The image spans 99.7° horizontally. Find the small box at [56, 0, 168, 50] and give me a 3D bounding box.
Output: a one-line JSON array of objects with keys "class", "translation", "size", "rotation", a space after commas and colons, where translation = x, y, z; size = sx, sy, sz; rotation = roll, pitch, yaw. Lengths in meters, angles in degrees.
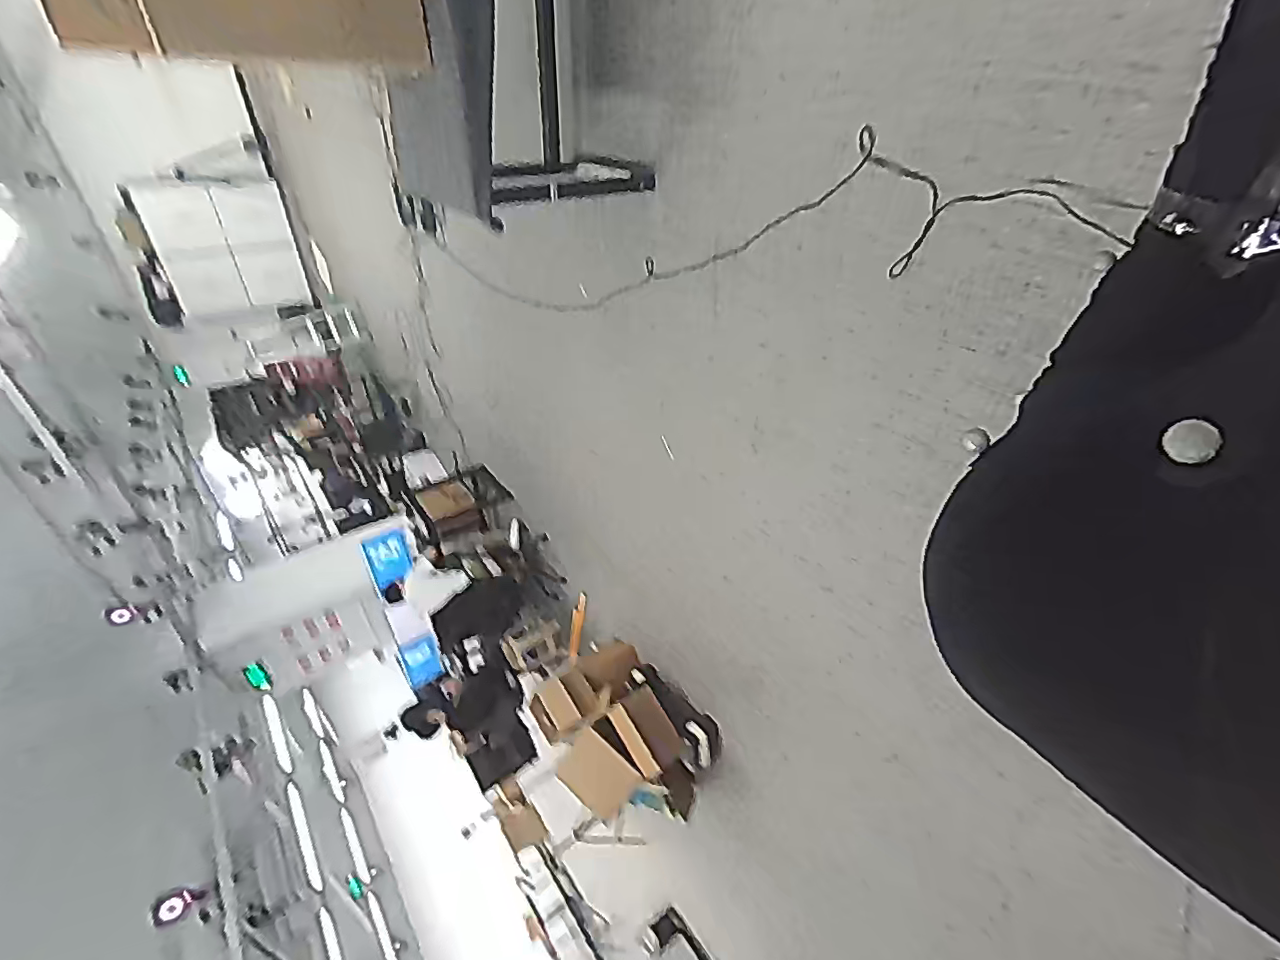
[{"class": "small box", "translation": [-1.186, -1.068, 1.196], "size": [0.179, 0.176, 0.168], "rotation": [31, 137, 42]}]
